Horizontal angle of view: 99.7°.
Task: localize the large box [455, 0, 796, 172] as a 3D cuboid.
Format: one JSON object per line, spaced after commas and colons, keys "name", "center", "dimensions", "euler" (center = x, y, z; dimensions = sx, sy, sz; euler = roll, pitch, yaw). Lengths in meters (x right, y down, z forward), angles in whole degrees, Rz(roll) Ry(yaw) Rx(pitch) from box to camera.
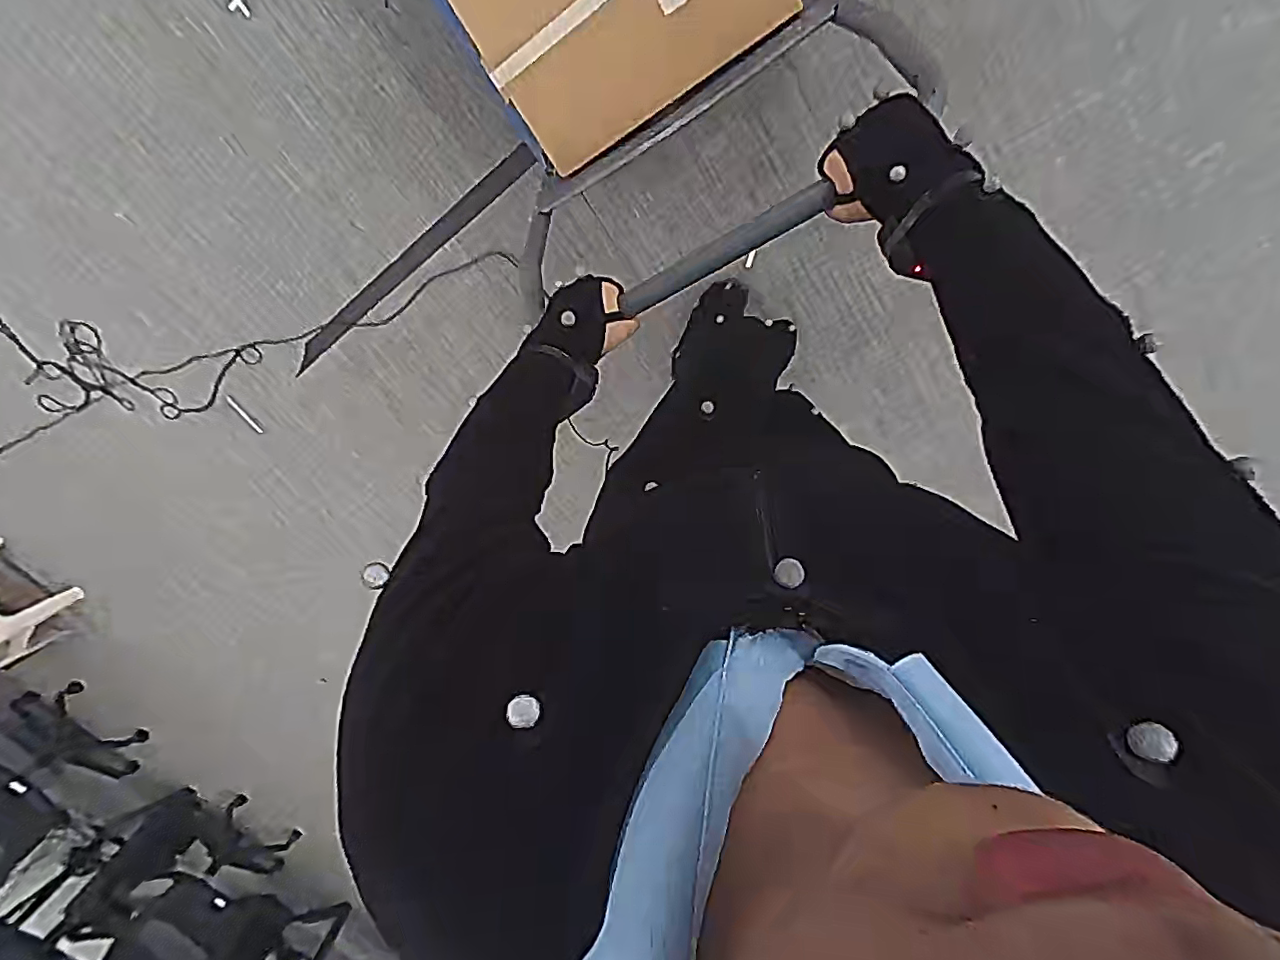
{"name": "large box", "center": [-0.031, -0.766, 0.825], "dimensions": [0.408, 0.320, 0.320], "euler": [-25, 129, 21]}
